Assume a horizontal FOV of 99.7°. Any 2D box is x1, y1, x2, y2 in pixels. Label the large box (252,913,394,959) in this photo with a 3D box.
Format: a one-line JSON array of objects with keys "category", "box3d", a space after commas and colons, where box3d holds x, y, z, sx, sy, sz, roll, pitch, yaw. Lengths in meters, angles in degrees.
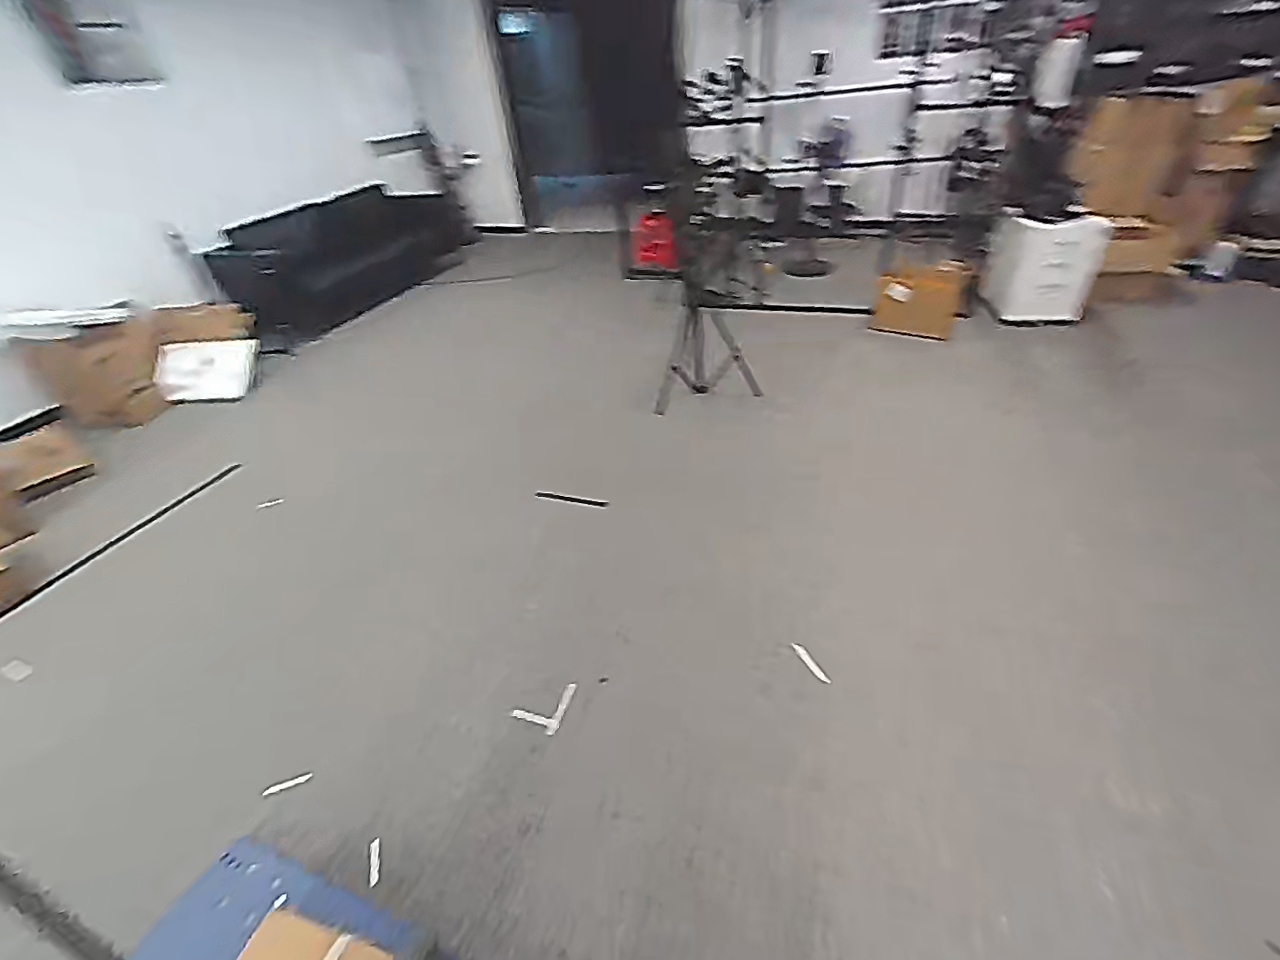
[{"category": "large box", "box3d": [-0.500, 0.978, 0.799, 0.320, 0.320, 0.408, 7, 37, 17]}]
